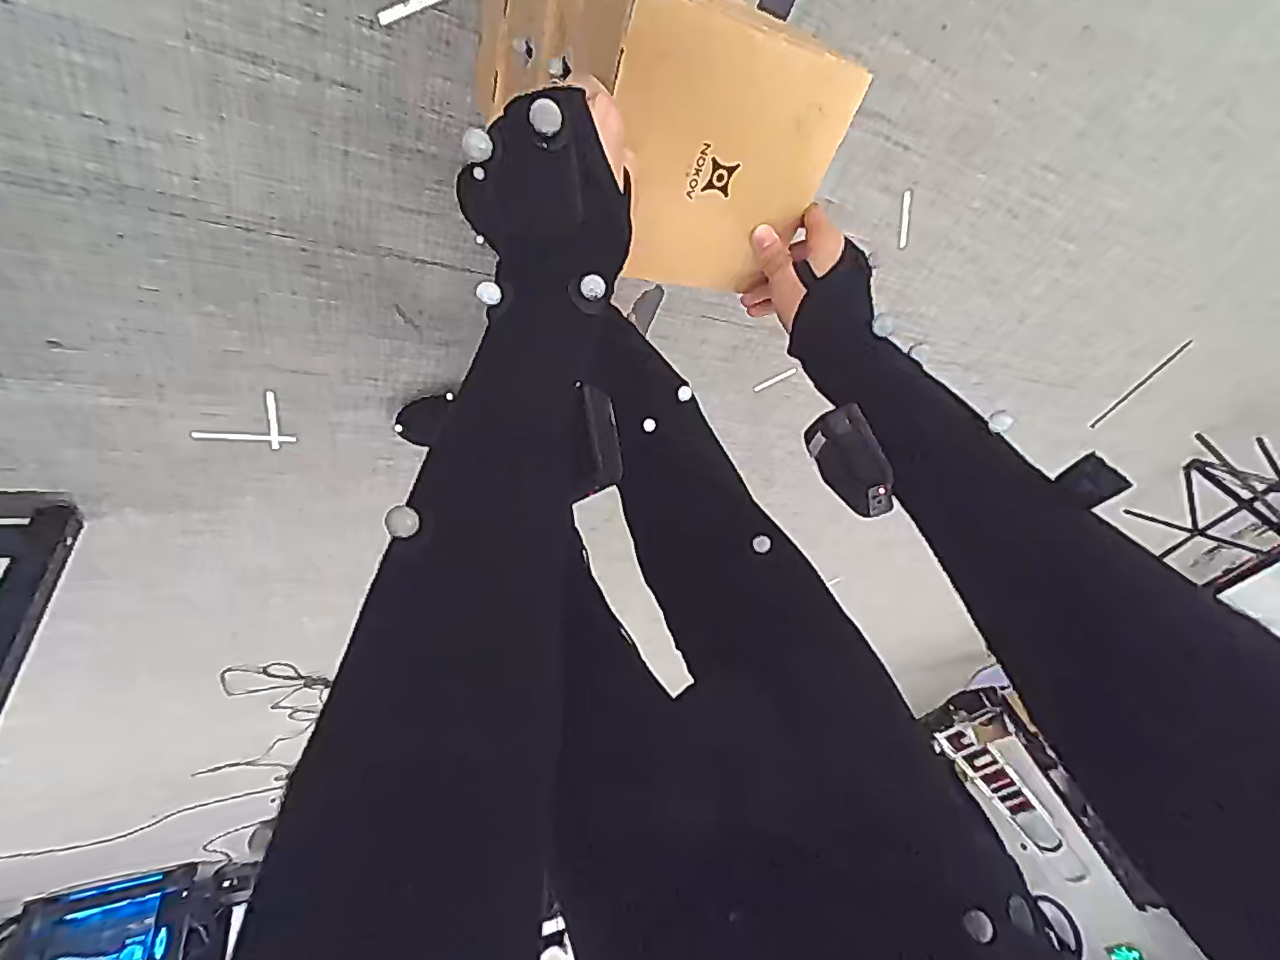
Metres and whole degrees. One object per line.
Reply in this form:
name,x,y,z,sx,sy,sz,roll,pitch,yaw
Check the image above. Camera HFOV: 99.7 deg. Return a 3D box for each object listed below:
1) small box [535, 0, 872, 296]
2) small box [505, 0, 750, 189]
small box,0.029,-0.270,0.421,0.179,0.176,0.168,-1,139,-24
small box,-0.030,-0.388,0.515,0.168,0.176,0.179,-2,139,-23
